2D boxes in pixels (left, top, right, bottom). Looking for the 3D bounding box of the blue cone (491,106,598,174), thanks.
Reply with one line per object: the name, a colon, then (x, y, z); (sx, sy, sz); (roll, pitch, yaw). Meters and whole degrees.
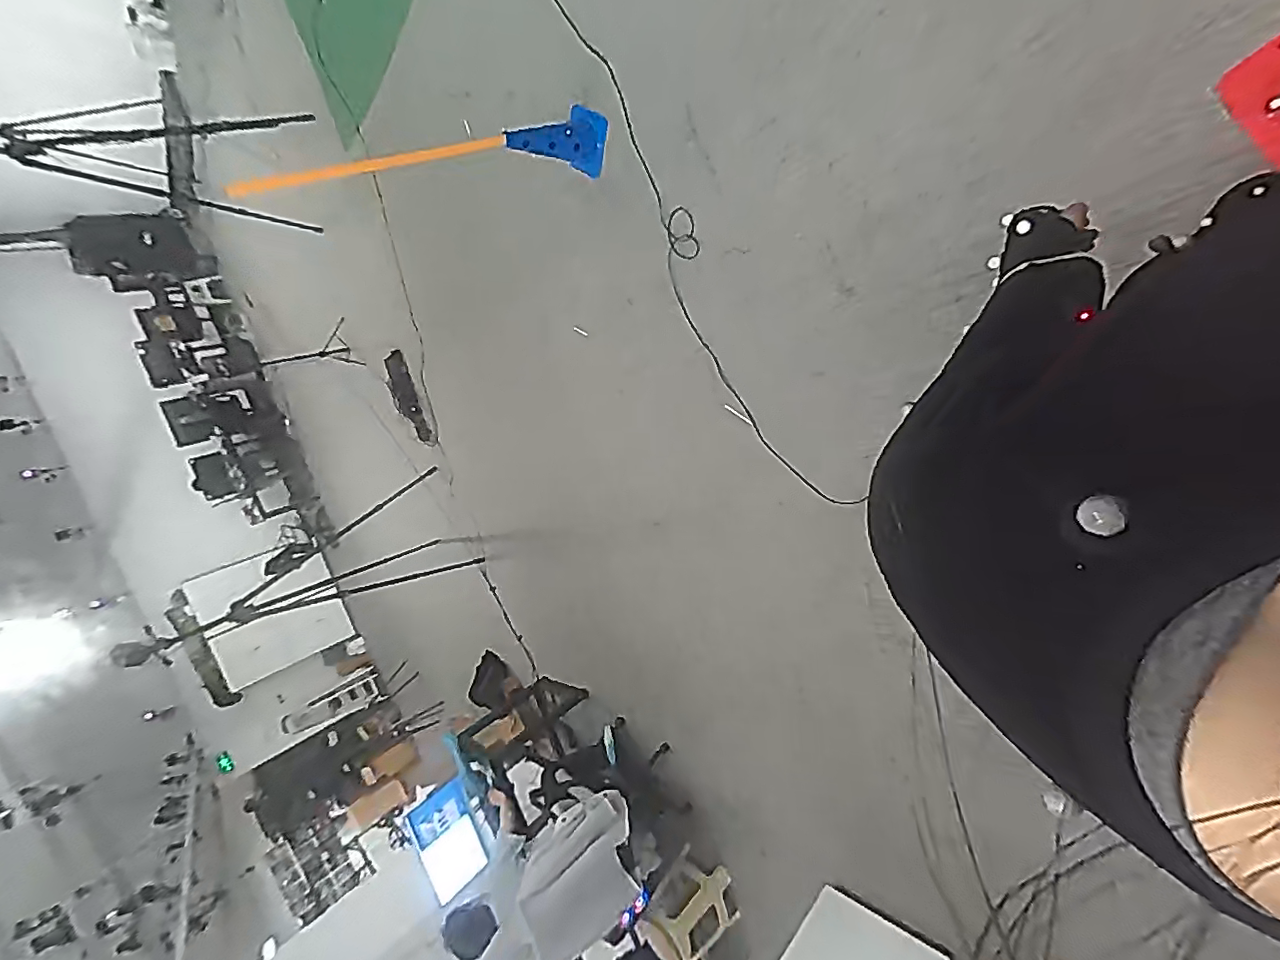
blue cone: (-0.339, -1.179, 1.872); (0.192, 0.380, 0.193); (40, 137, 26)
